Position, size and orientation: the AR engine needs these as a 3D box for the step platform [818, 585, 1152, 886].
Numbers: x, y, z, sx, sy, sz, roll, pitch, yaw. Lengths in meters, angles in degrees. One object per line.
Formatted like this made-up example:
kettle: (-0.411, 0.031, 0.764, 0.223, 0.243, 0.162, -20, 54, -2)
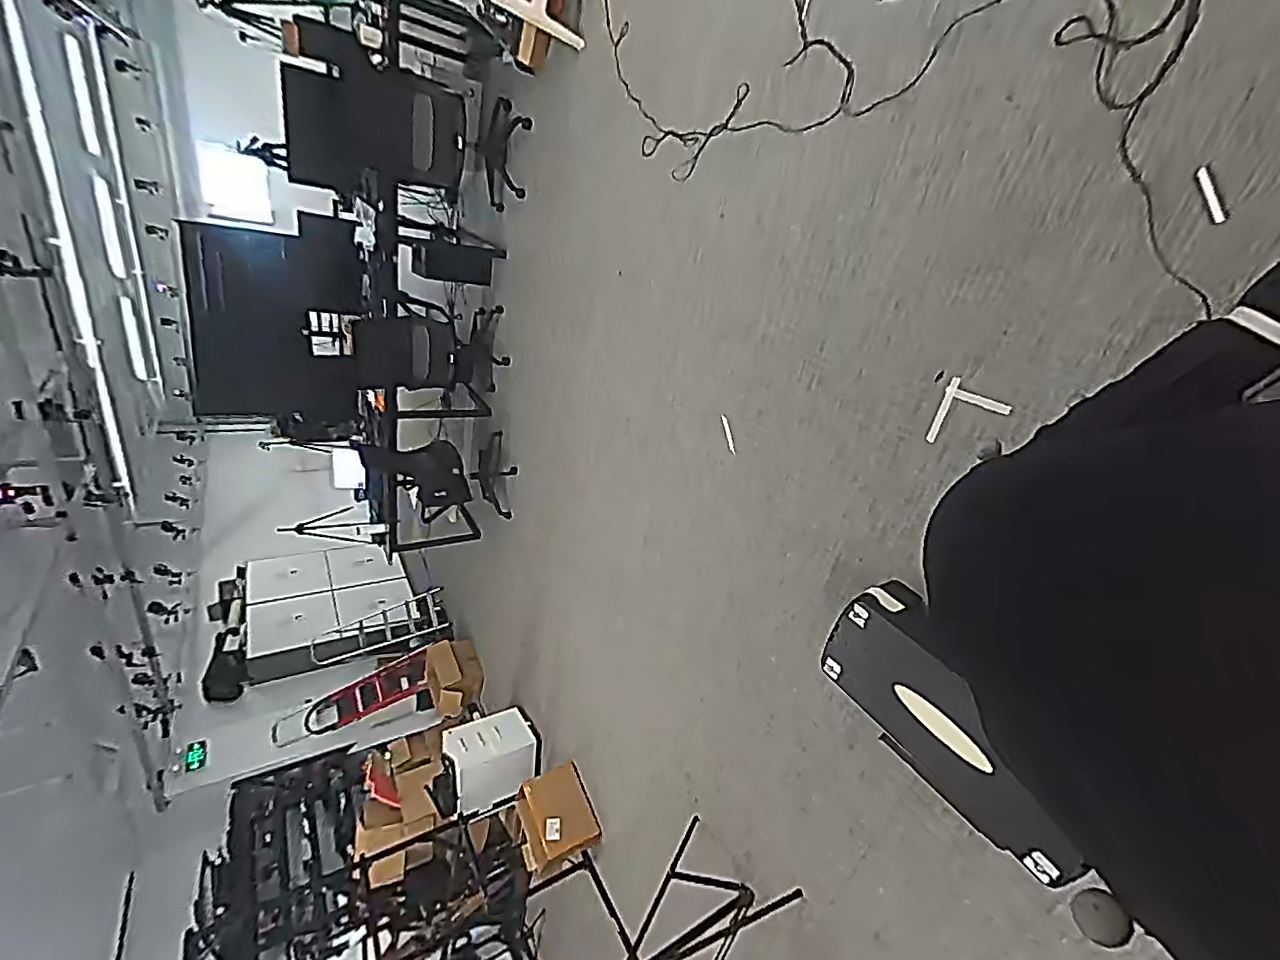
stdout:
step platform: (0.770, 0.575, 1.326, 0.684, 0.204, 0.286, 42, 129, 44)
